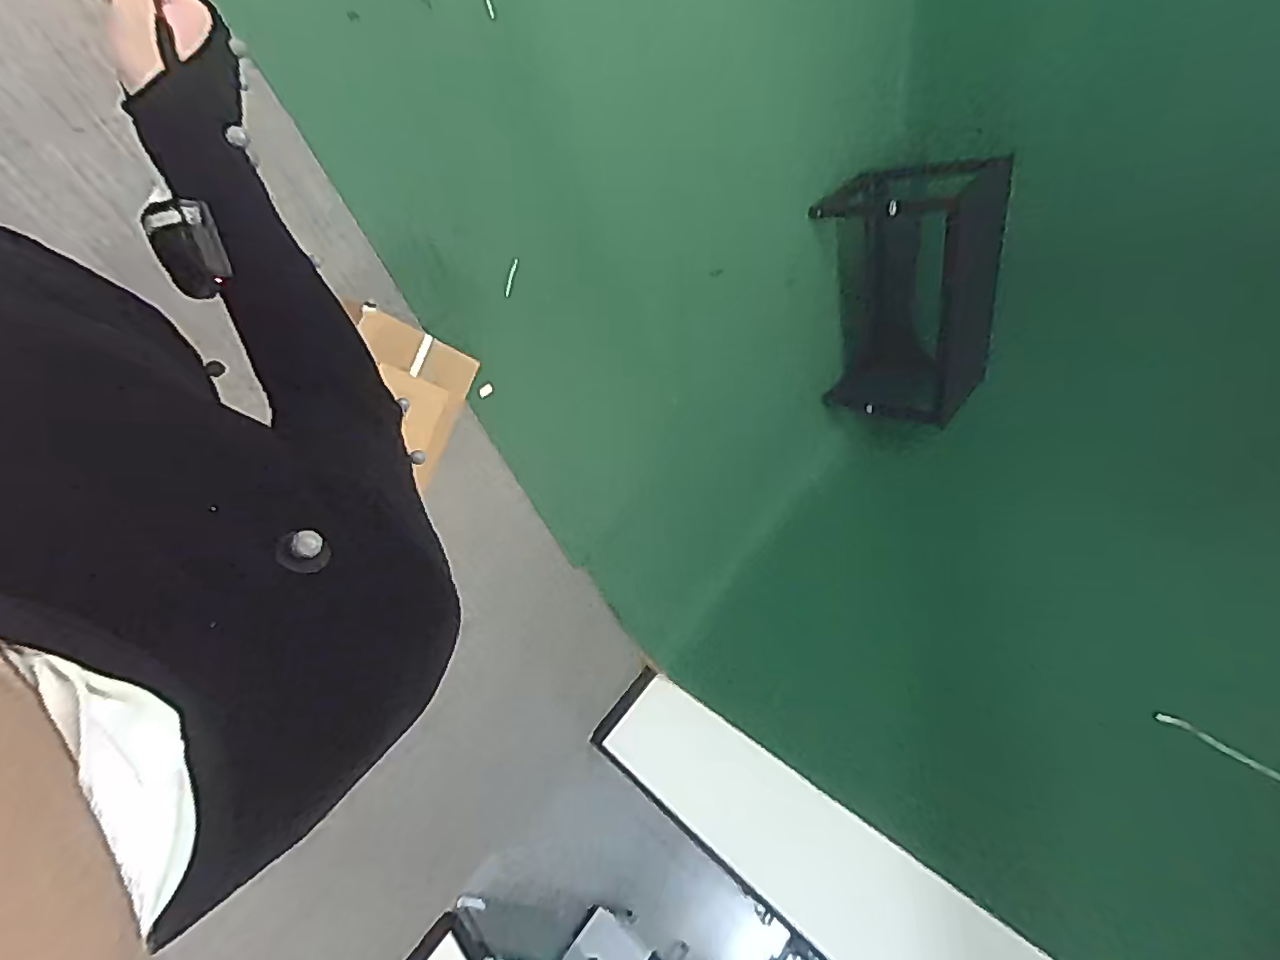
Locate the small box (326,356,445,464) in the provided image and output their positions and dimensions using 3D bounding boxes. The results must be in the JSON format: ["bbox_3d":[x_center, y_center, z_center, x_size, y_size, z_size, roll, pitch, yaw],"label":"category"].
[{"bbox_3d":[-0.578,-0.160,1.218,0.168,0.176,0.179,24,89,-49],"label":"small box"}]
